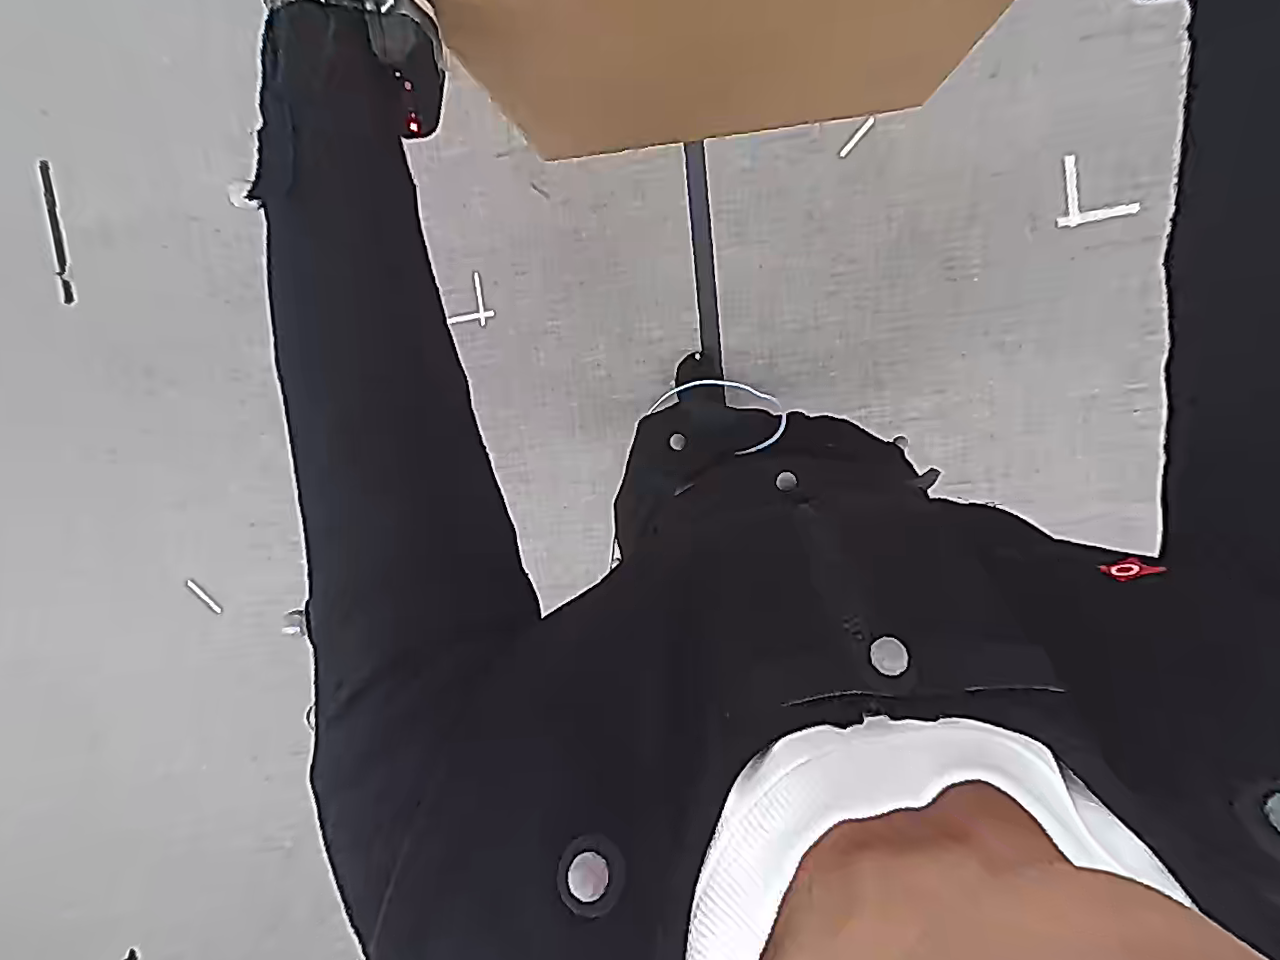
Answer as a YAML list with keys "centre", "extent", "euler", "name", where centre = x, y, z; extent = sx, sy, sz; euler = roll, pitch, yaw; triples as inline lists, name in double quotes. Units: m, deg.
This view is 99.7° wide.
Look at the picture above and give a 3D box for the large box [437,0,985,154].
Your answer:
- centre: [0.056, -0.495, 0.408]
  extent: [0.408, 0.320, 0.320]
  euler: [-5, 103, 7]
  name: "large box"
